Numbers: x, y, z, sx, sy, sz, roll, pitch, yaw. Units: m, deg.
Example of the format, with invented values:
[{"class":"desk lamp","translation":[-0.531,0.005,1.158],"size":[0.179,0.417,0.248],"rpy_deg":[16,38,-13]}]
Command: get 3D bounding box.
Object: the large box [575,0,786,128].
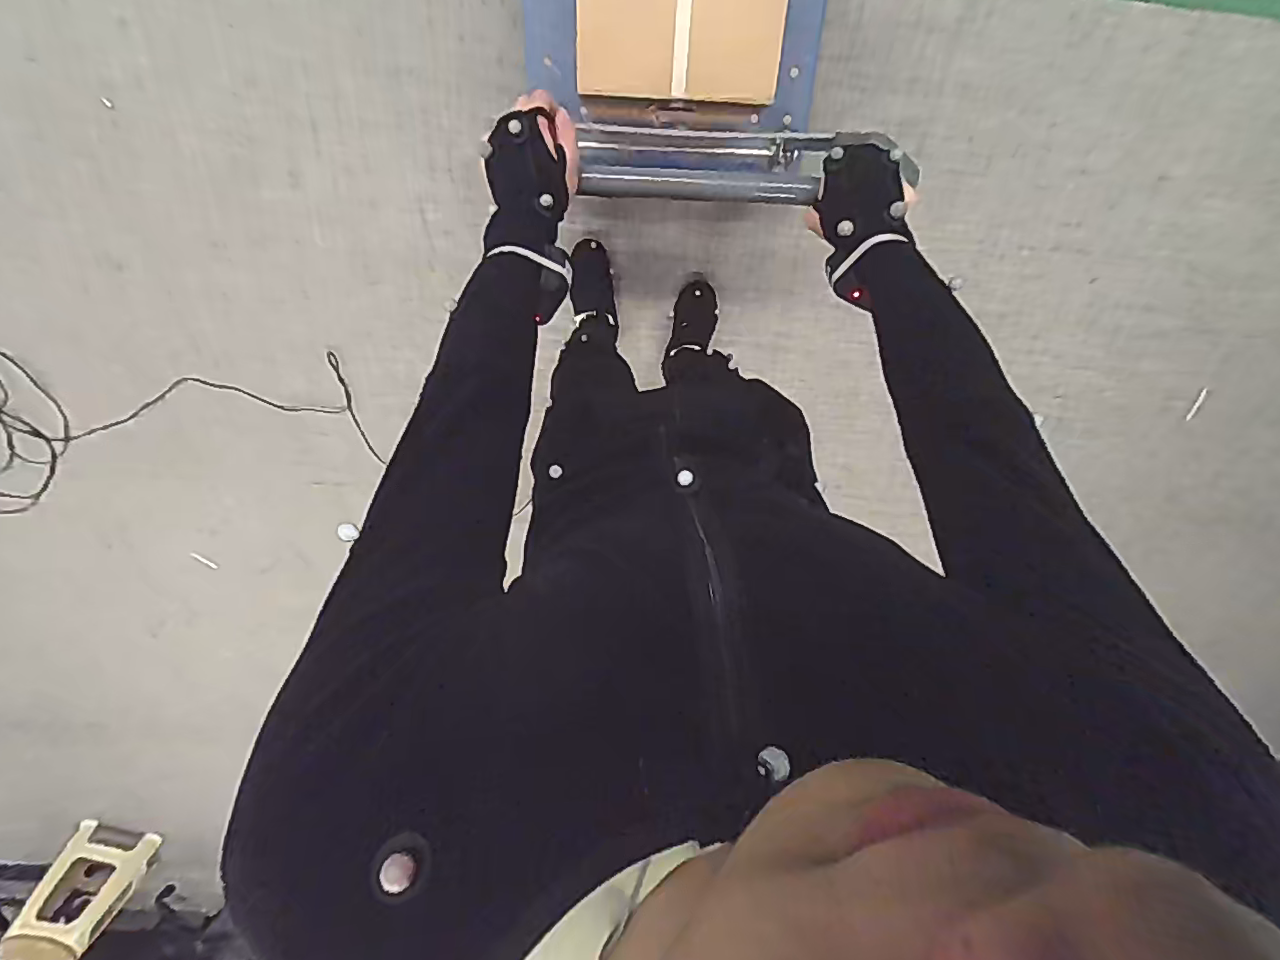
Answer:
[{"class":"large box","translation":[0.064,-0.837,0.893],"size":[0.320,0.320,0.408],"rpy_deg":[2,118,-2]}]
